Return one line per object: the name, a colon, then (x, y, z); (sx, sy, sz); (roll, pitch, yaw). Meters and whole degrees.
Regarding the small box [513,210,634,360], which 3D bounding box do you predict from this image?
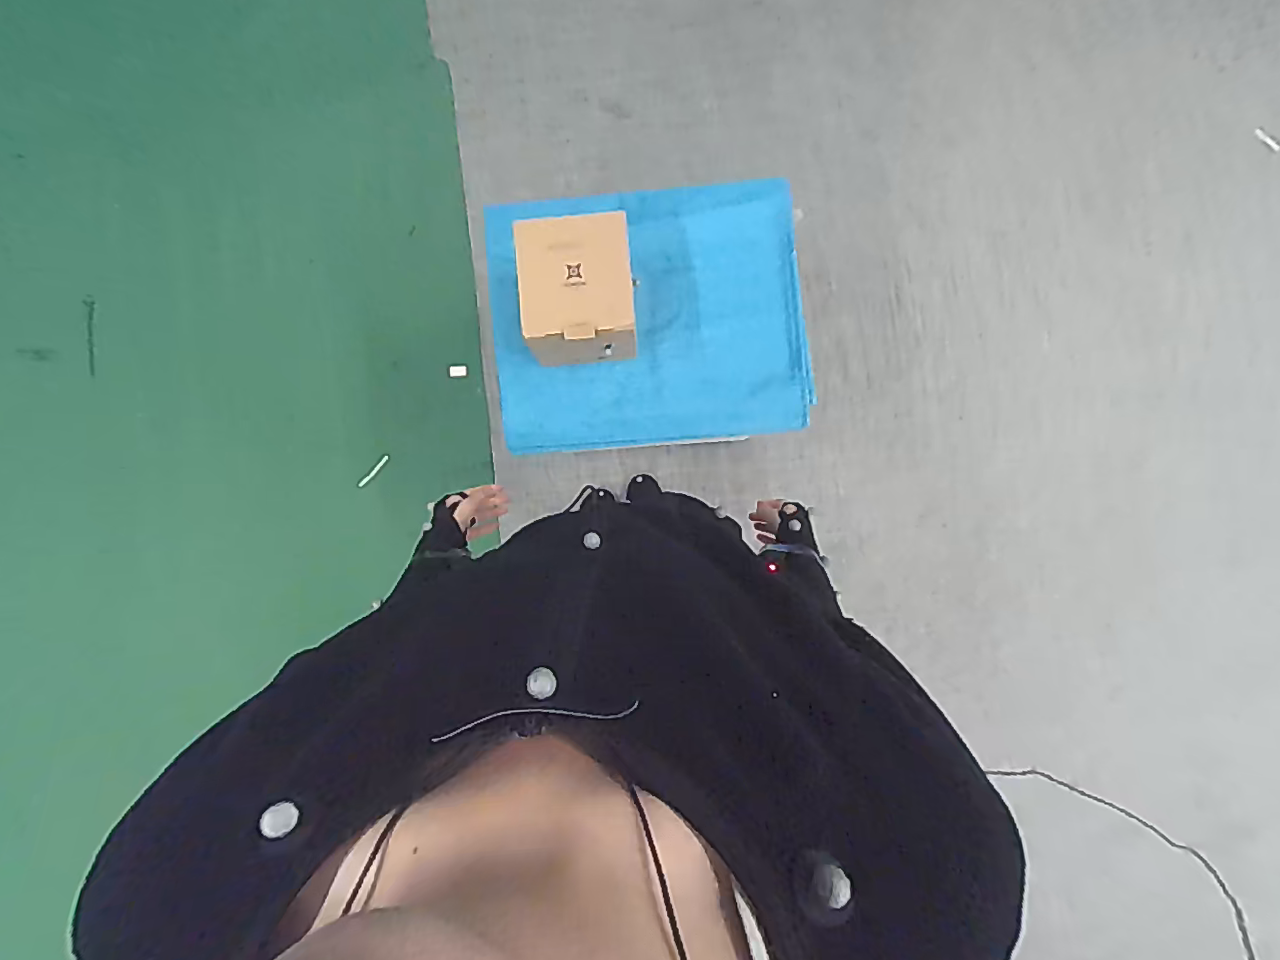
small box: (-0.097, -0.293, 0.849); (0.168, 0.176, 0.179); (-4, 87, -1)
